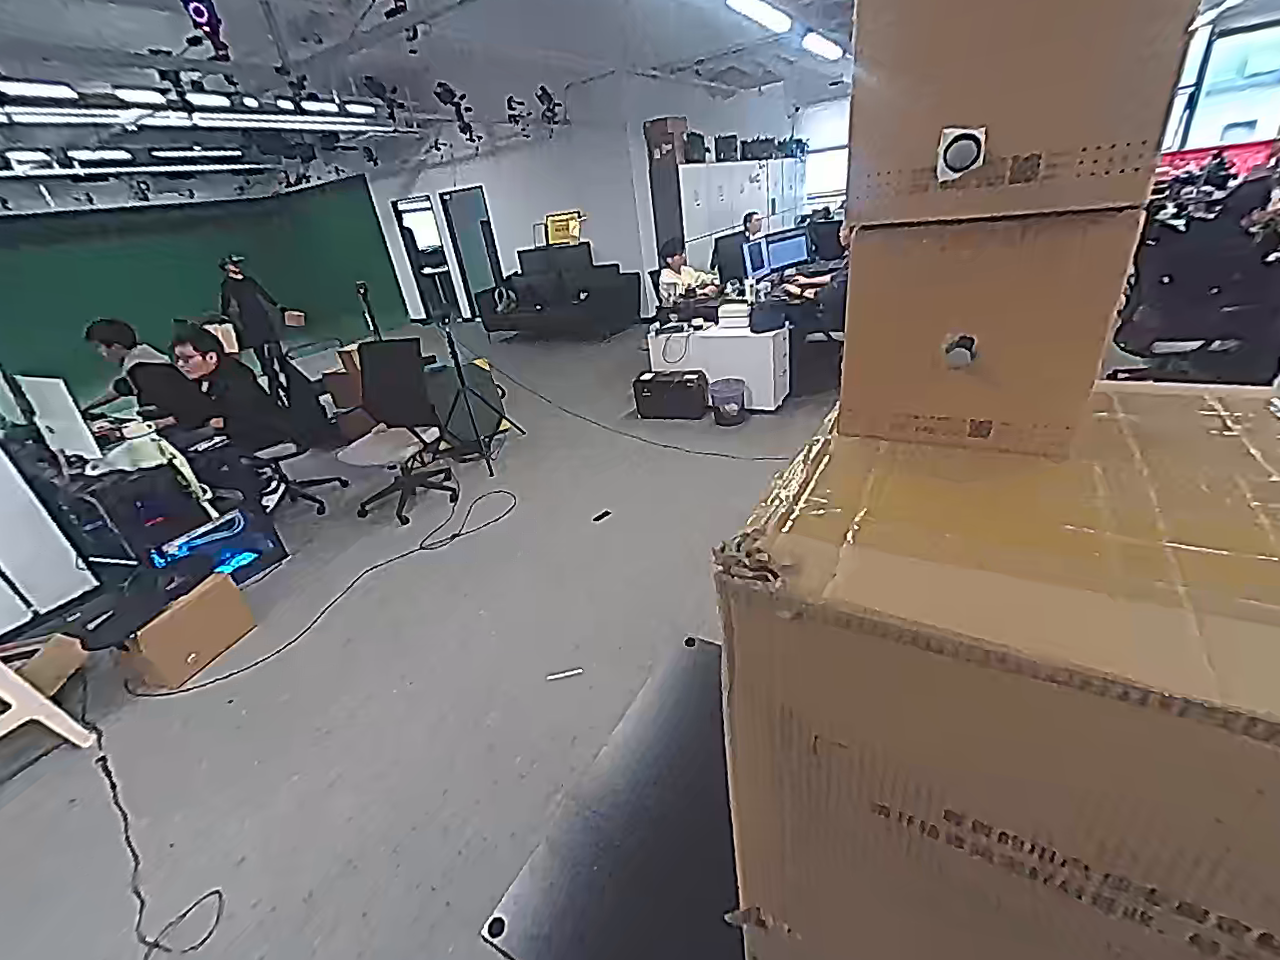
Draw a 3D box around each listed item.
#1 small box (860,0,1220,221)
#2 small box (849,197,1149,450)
[{"bbox_3d":[0.252,-0.274,0.359,0.168,0.176,0.179,10,32,32],"label":"small box"},{"bbox_3d":[0.276,-0.137,0.447,0.168,0.176,0.179,10,32,30],"label":"small box"}]
